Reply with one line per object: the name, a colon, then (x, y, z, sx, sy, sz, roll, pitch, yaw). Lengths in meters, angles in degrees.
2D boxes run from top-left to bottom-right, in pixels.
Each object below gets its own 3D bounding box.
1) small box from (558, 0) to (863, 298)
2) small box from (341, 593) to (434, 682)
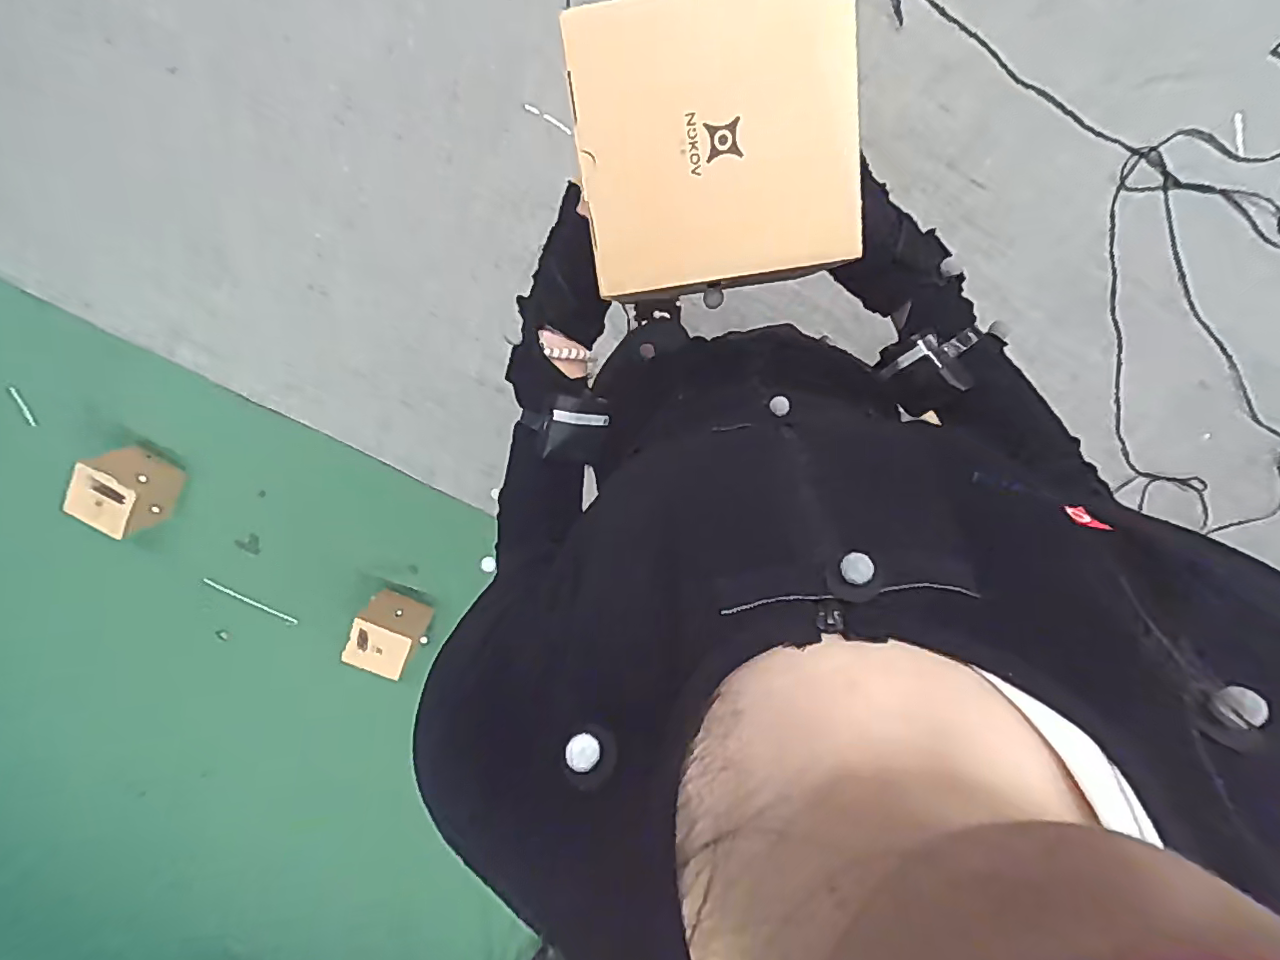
small box: (0.052, -0.235, 0.408, 0.179, 0.176, 0.168, -7, 107, 7)
small box: (-0.758, 0.467, 1.635, 0.179, 0.176, 0.168, 24, 108, -6)
